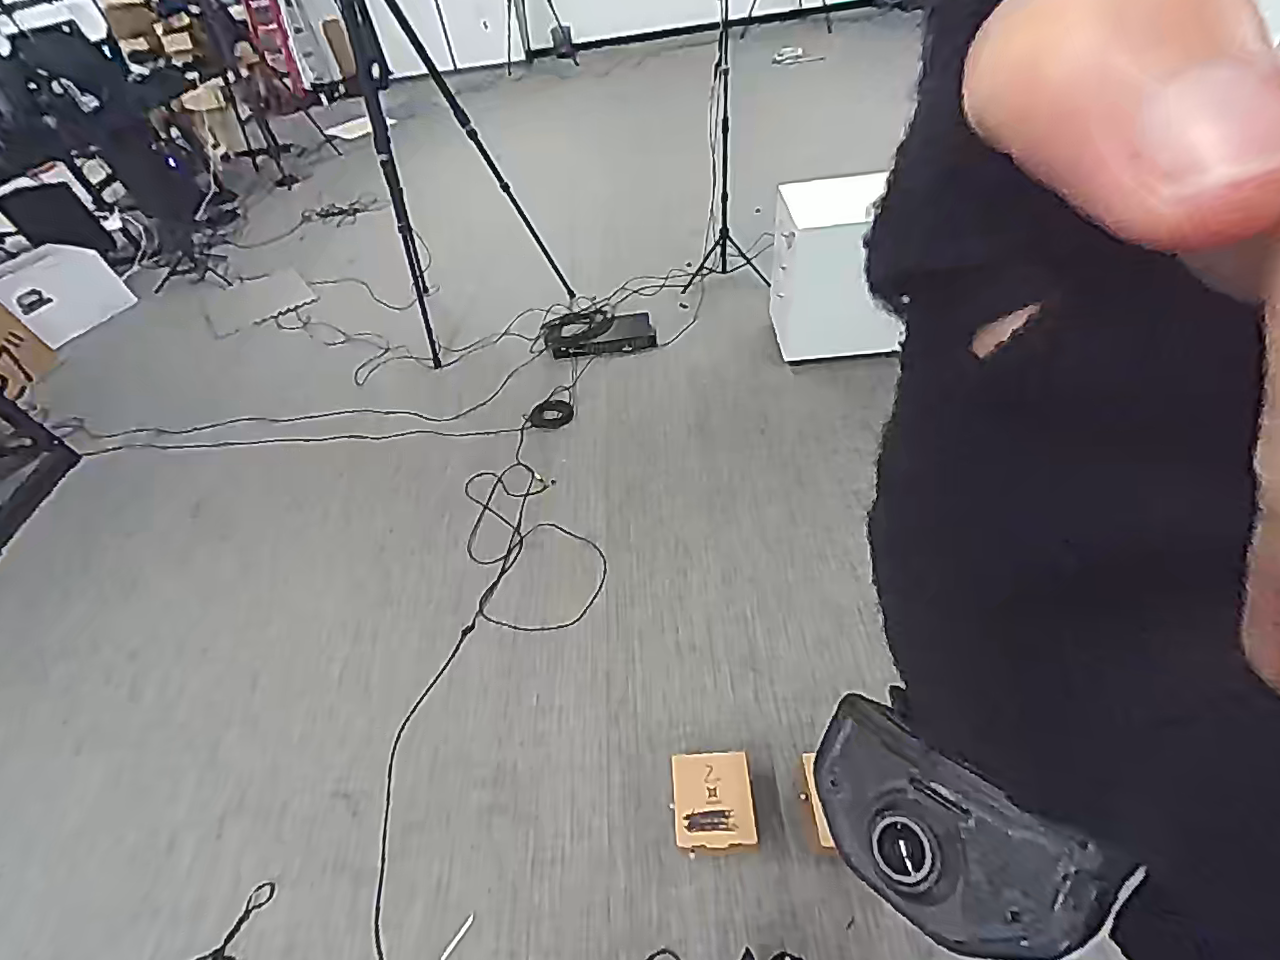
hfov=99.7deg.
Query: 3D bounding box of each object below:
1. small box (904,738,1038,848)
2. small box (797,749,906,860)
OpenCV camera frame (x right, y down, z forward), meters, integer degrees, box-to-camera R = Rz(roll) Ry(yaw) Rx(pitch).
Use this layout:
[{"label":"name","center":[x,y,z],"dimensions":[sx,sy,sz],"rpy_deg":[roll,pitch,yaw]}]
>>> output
[{"label":"small box","center":[0.701,0.680,1.169],"dimensions":[0.168,0.176,0.179],"rpy_deg":[-6,47,2]},{"label":"small box","center":[0.447,0.707,1.176],"dimensions":[0.168,0.176,0.179],"rpy_deg":[-6,48,4]}]
